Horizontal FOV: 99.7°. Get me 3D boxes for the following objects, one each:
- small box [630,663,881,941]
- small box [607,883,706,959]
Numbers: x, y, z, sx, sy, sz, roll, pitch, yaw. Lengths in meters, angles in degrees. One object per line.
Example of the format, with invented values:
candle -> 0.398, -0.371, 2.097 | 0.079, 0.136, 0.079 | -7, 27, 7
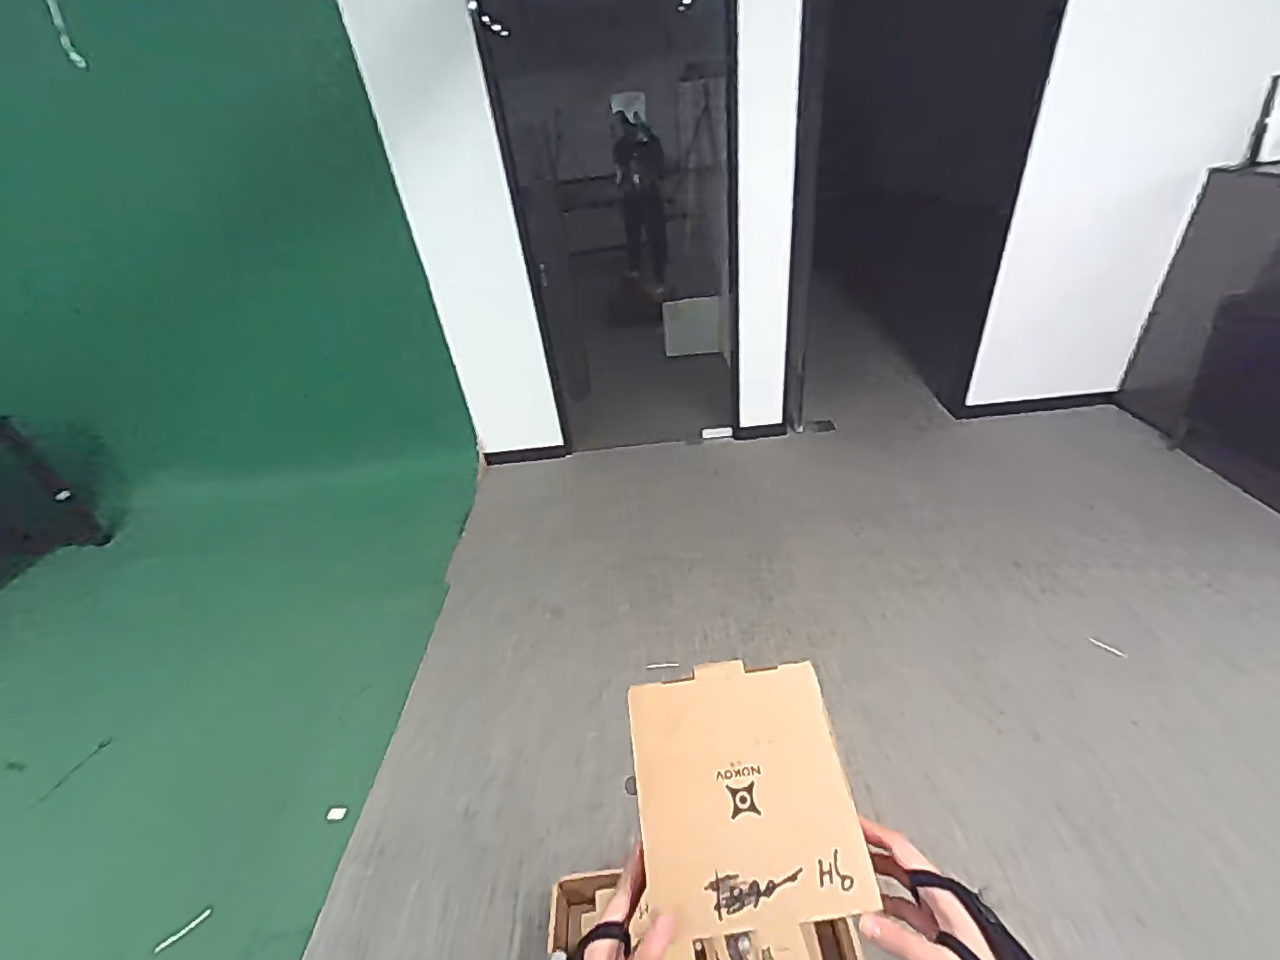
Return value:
small box -> 0.085, 0.288, 0.493 | 0.168, 0.176, 0.179 | -9, 56, 0
small box -> 0.035, 0.868, 0.990 | 0.168, 0.176, 0.179 | -8, 36, -3
